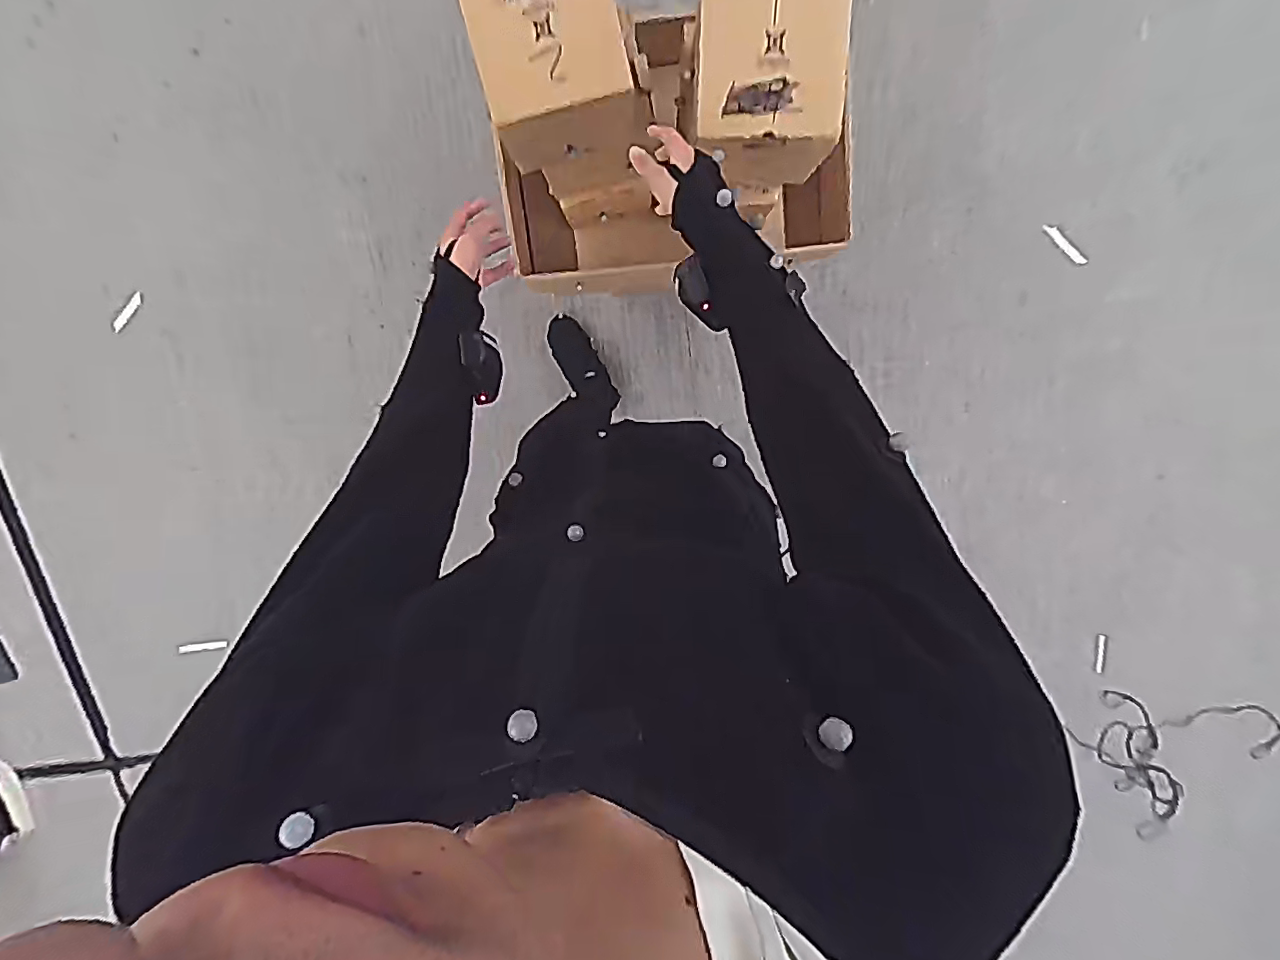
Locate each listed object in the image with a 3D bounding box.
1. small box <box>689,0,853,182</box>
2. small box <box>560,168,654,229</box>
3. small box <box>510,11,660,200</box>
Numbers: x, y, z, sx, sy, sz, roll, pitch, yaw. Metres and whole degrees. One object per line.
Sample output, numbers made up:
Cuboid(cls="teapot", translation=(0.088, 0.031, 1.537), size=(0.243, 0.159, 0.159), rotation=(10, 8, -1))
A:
Cuboid(cls="small box", translation=(0.150, -0.487, 0.672), size=(0.168, 0.176, 0.179), rotation=(1, 103, 2))
Cuboid(cls="small box", translation=(-0.078, -0.583, 0.983), size=(0.168, 0.176, 0.179), rotation=(-14, 104, 2))
Cuboid(cls="small box", translation=(-0.078, -0.552, 0.823), size=(0.179, 0.176, 0.168), rotation=(-15, 103, 1))
